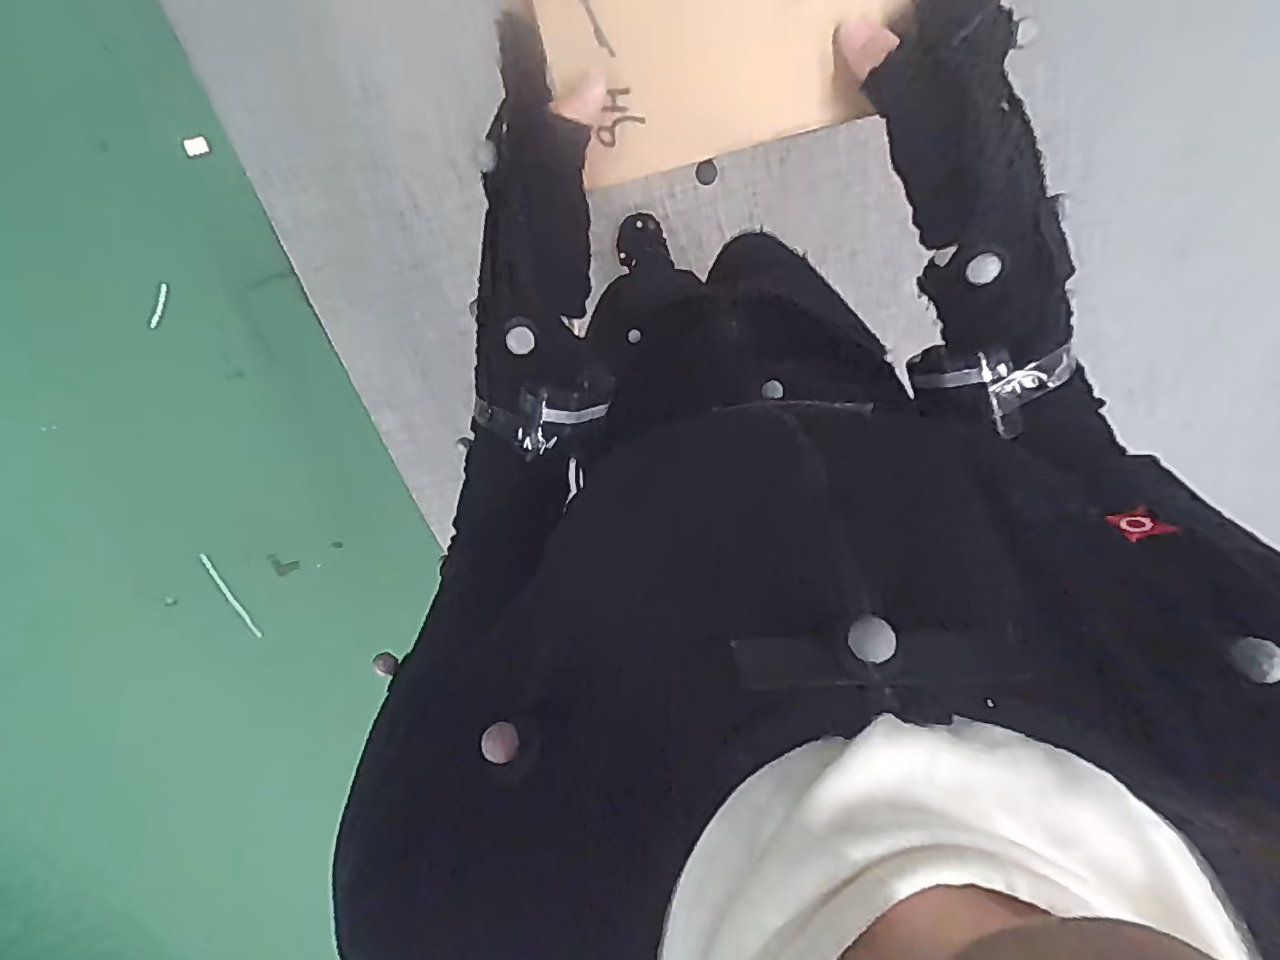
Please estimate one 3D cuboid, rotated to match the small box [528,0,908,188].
[{"bbox_3d":[0.026,-0.277,0.307,0.179,0.176,0.168,-13,118,2],"label":"small box"}]
